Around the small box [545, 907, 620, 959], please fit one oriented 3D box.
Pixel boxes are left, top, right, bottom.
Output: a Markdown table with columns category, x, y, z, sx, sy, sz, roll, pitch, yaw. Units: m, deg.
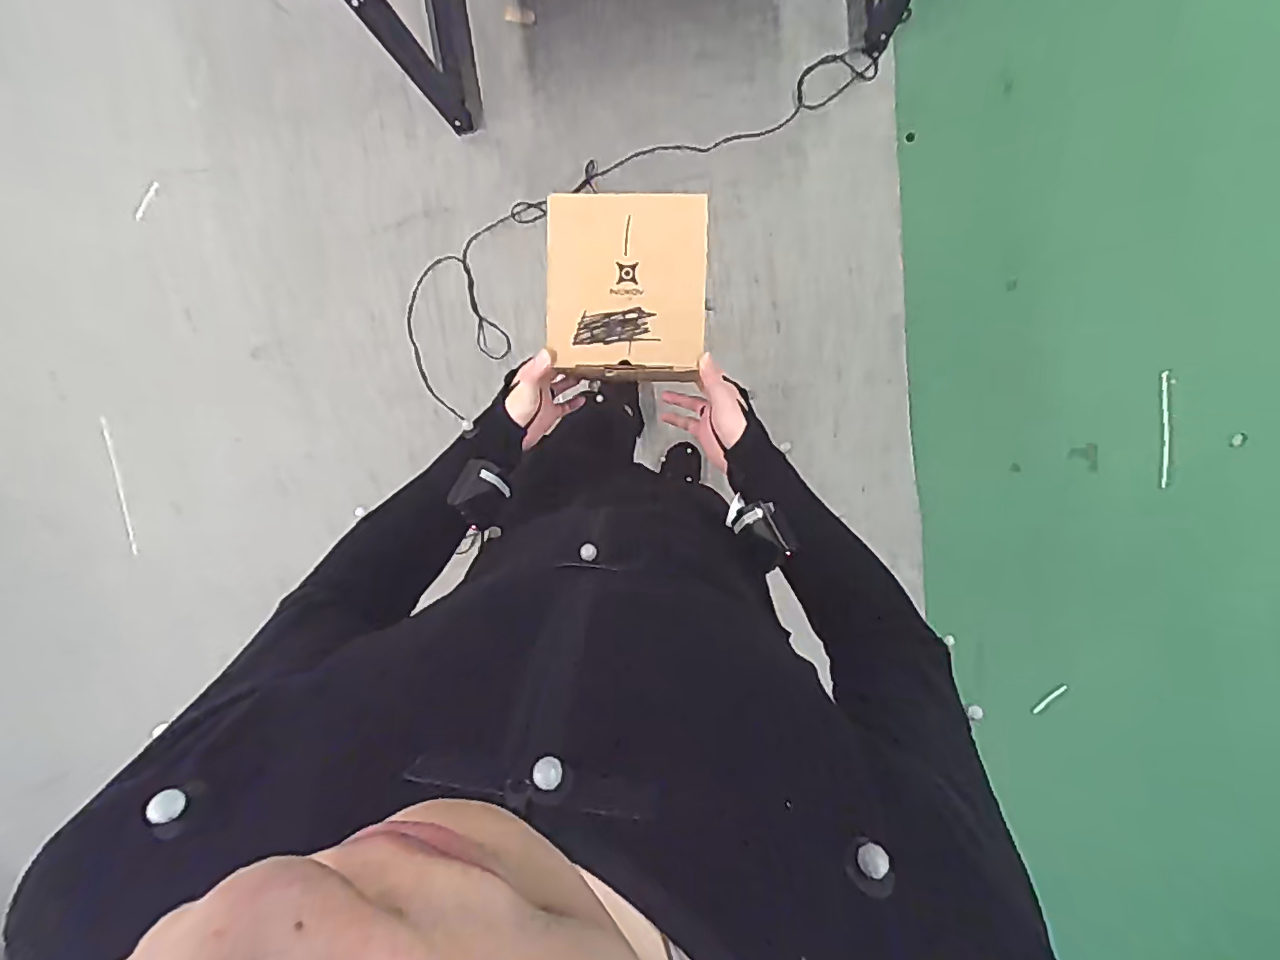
| category | x | y | z | sx | sy | sz | roll | pitch | yaw |
| --- | --- | --- | --- | --- | --- | --- | --- | --- | --- |
| small box | -0.138 | 1.196 | 1.313 | 0.168 | 0.176 | 0.179 | 1 | 97 | 4 |

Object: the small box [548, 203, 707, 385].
| category | x | y | z | sx | sy | sz | roll | pitch | yaw |
| --- | --- | --- | --- | --- | --- | --- | --- | --- | --- |
| small box | -0.012 | -0.205 | 0.641 | 0.168 | 0.176 | 0.179 | 1 | 96 | 1 |
